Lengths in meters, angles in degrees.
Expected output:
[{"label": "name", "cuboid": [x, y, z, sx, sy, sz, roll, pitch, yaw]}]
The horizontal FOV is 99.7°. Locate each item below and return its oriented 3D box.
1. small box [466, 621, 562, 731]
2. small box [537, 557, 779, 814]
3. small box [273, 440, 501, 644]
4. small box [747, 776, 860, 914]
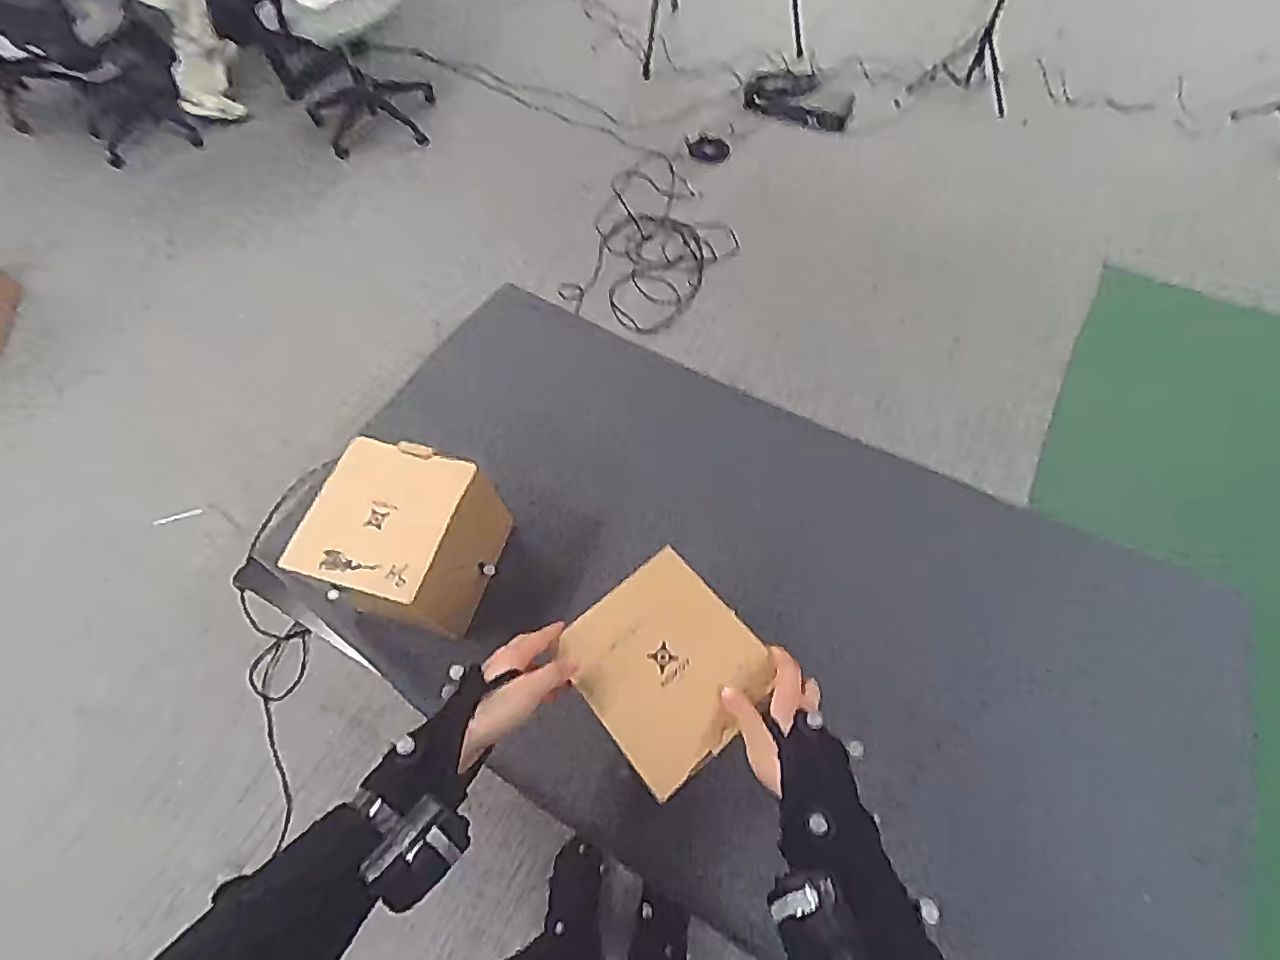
[{"label": "small box", "cuboid": [-0.275, 0.475, 1.291, 0.168, 0.176, 0.179, 29, 65, 18]}, {"label": "small box", "cuboid": [0.016, 0.221, 0.582, 0.168, 0.176, 0.179, -36, 65, -20]}, {"label": "small box", "cuboid": [-0.290, 0.081, 0.673, 0.168, 0.176, 0.179, 13, 62, 11]}, {"label": "small box", "cuboid": [0.326, 0.735, 1.110, 0.168, 0.176, 0.179, 21, 63, 13]}]
